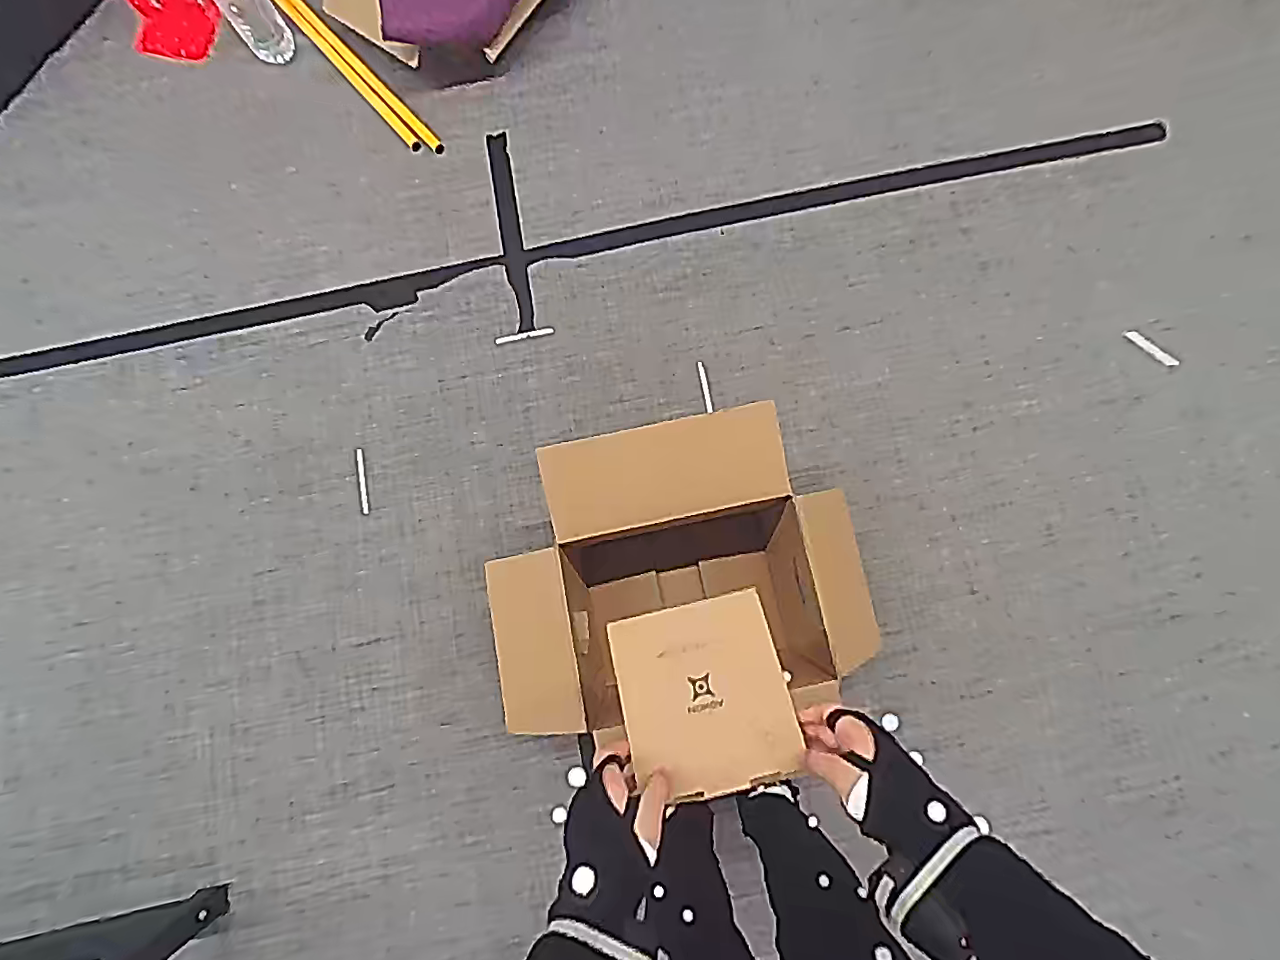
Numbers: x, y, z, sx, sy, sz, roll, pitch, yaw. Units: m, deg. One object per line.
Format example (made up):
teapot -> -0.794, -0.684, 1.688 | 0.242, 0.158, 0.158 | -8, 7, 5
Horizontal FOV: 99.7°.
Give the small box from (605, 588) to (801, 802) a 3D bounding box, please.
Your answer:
small box -> 0.066, 0.241, 0.616 | 0.168, 0.176, 0.179 | -13, 66, -1
